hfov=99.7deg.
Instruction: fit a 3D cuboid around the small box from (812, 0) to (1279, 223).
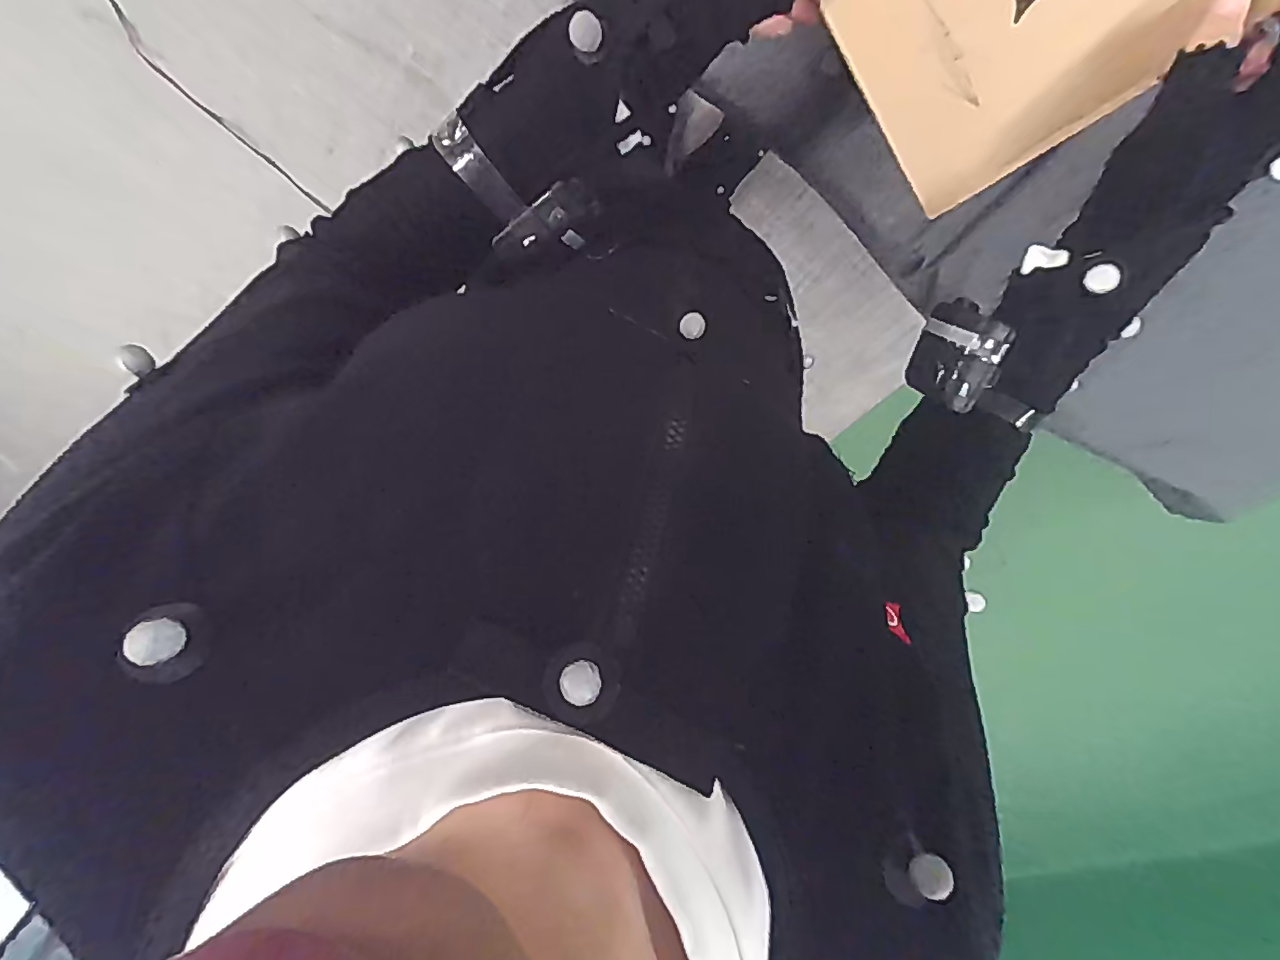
[{"bbox_3d":[0.213,-0.302,0.321,0.179,0.176,0.168,-25,122,36],"label":"small box"}]
